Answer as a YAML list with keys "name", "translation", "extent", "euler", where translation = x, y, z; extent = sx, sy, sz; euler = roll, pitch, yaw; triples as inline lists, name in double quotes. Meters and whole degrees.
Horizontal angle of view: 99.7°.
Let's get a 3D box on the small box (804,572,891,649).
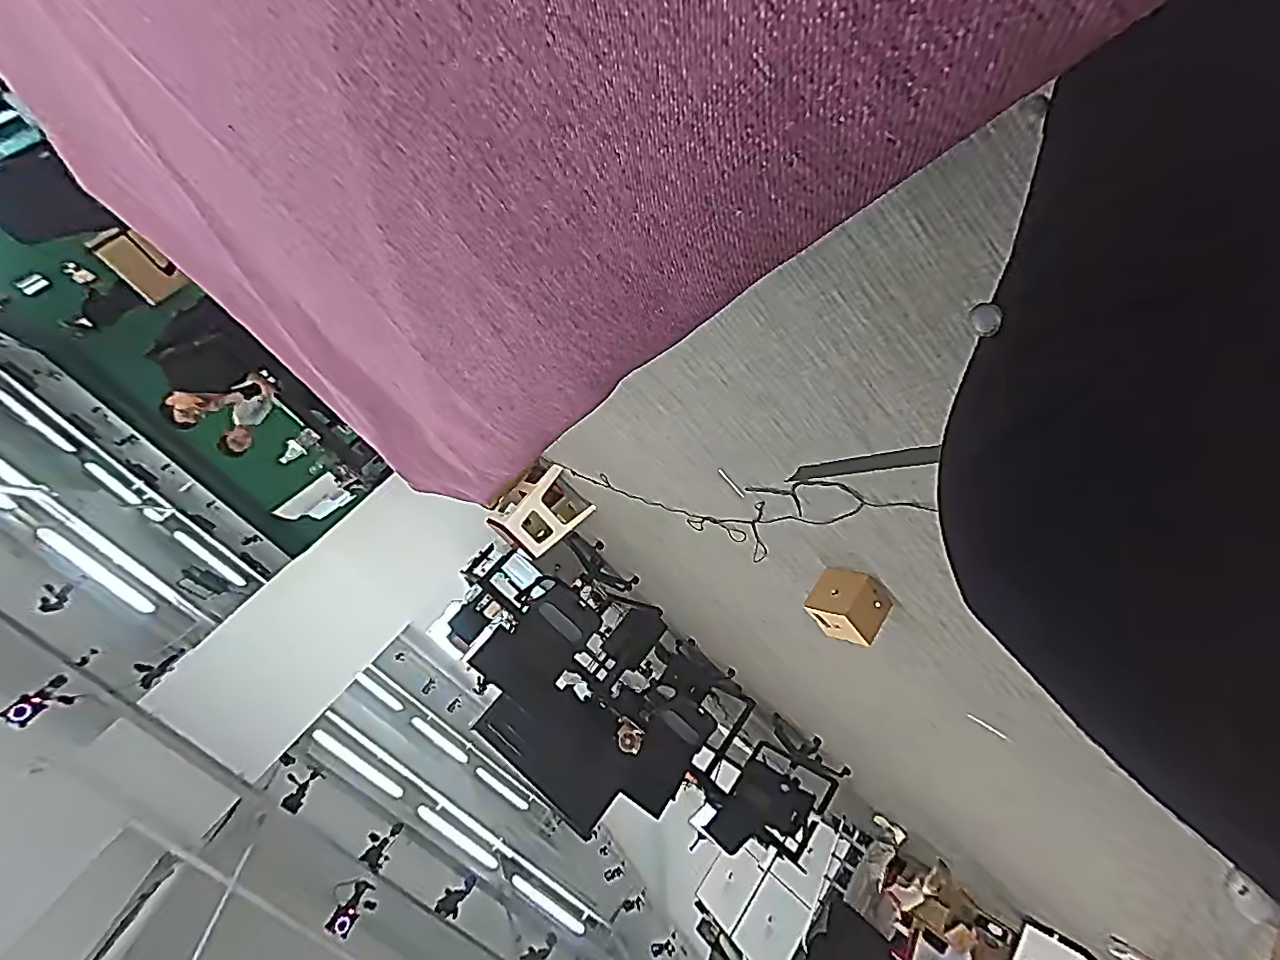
- name: "small box"
  translation: [0.682, 0.420, 1.773]
  extent: [0.168, 0.176, 0.179]
  euler: [48, 157, -20]
